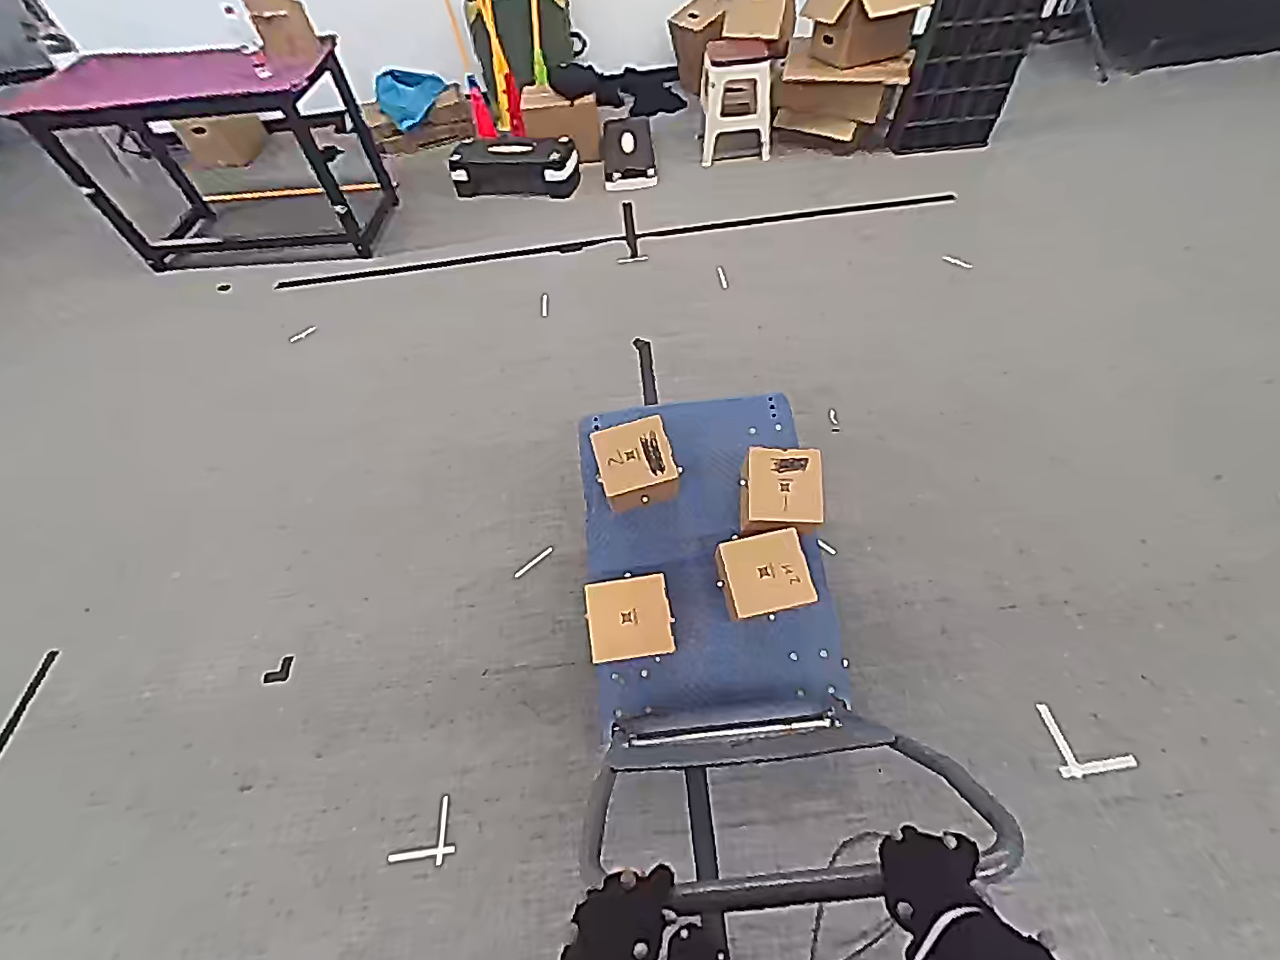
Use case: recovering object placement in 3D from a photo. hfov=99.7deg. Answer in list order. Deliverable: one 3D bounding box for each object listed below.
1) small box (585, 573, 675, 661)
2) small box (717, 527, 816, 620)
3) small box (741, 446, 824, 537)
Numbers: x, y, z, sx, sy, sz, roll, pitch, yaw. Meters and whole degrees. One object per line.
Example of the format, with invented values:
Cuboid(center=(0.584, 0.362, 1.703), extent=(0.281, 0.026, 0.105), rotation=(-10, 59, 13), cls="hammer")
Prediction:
Cuboid(center=(-0.019, 0.315, 1.225), extent=(0.179, 0.176, 0.168), rotation=(-9, 72, -1), cls="small box")
Cuboid(center=(0.278, 0.220, 1.236), extent=(0.179, 0.176, 0.168), rotation=(-13, 72, 0), cls="small box")
Cuboid(center=(0.332, 0.032, 1.293), extent=(0.168, 0.176, 0.179), rotation=(2, 73, 5), cls="small box")
